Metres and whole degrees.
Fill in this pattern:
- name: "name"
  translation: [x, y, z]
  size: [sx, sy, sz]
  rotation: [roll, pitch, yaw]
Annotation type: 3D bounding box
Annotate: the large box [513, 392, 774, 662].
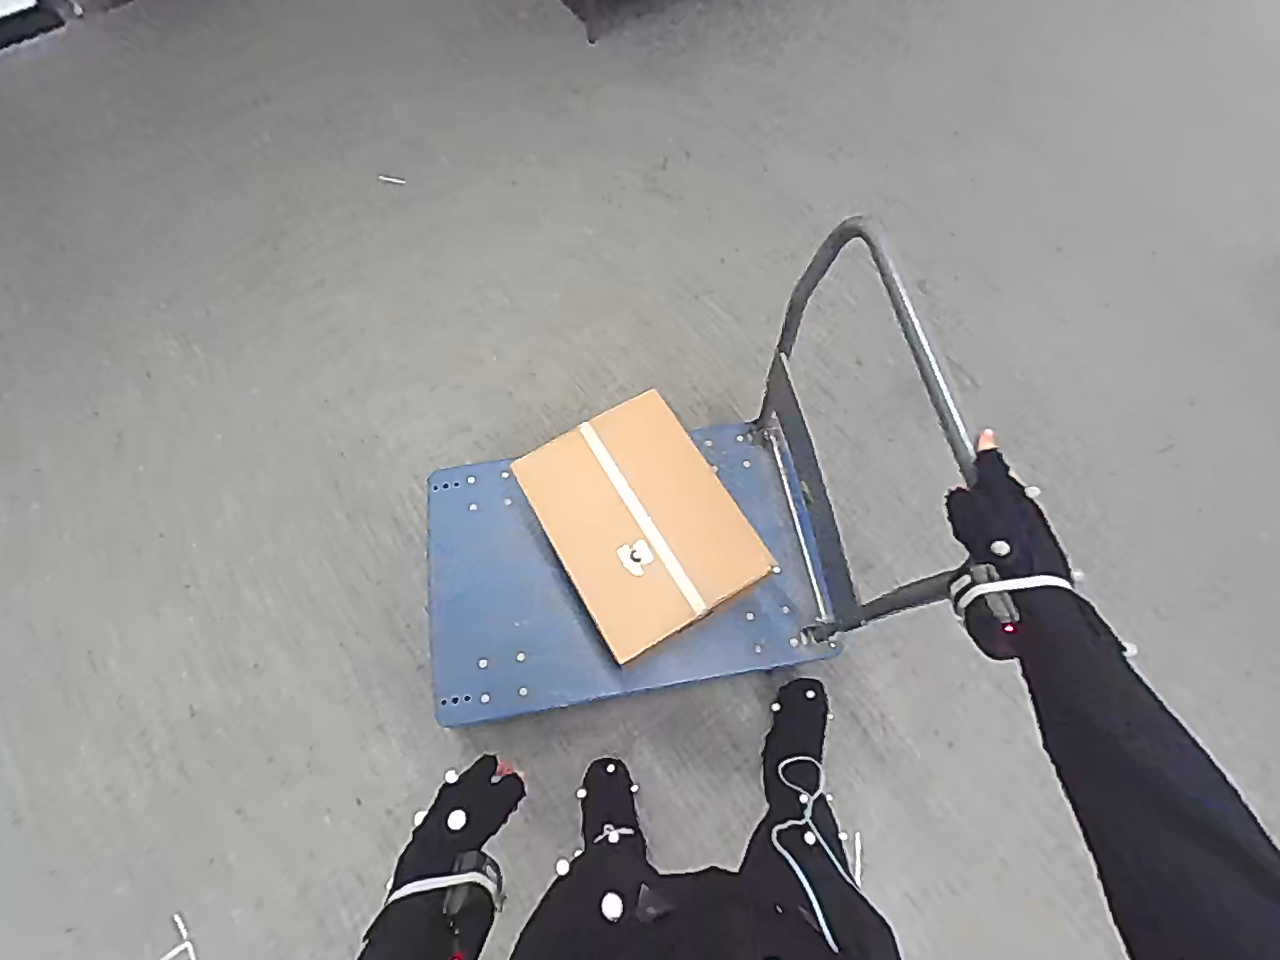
- name: "large box"
  translation: [-0.004, 0.107, 1.100]
  size: [0.320, 0.320, 0.408]
  rotation: [-31, 73, -10]
